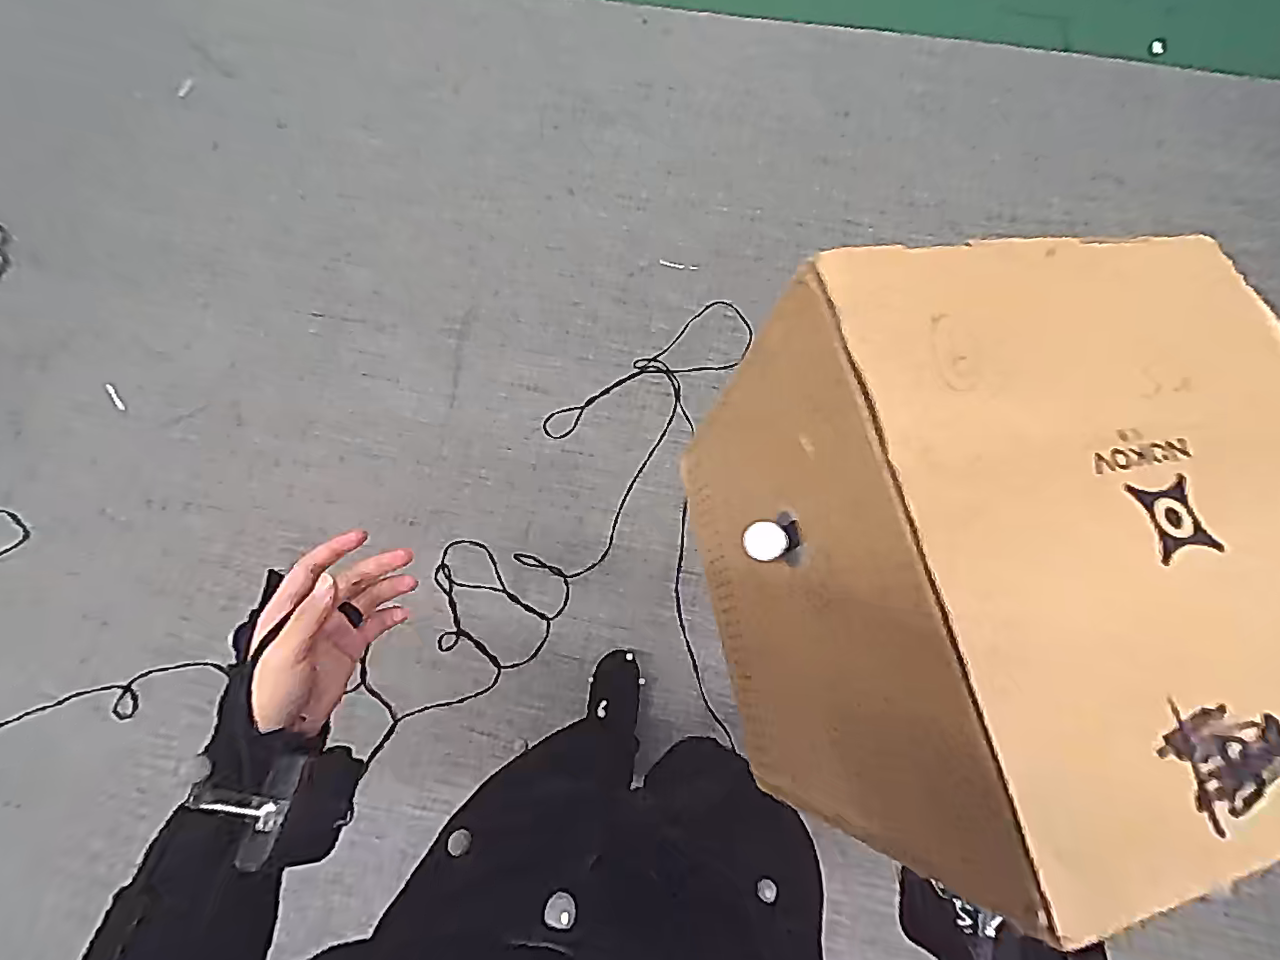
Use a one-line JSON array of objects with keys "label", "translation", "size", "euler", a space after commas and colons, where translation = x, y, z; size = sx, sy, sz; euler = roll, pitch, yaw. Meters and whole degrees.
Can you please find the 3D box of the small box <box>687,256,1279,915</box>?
[{"label": "small box", "translation": [0.131, 0.033, 0.237], "size": [0.168, 0.176, 0.179], "euler": [-10, 72, -13]}]
